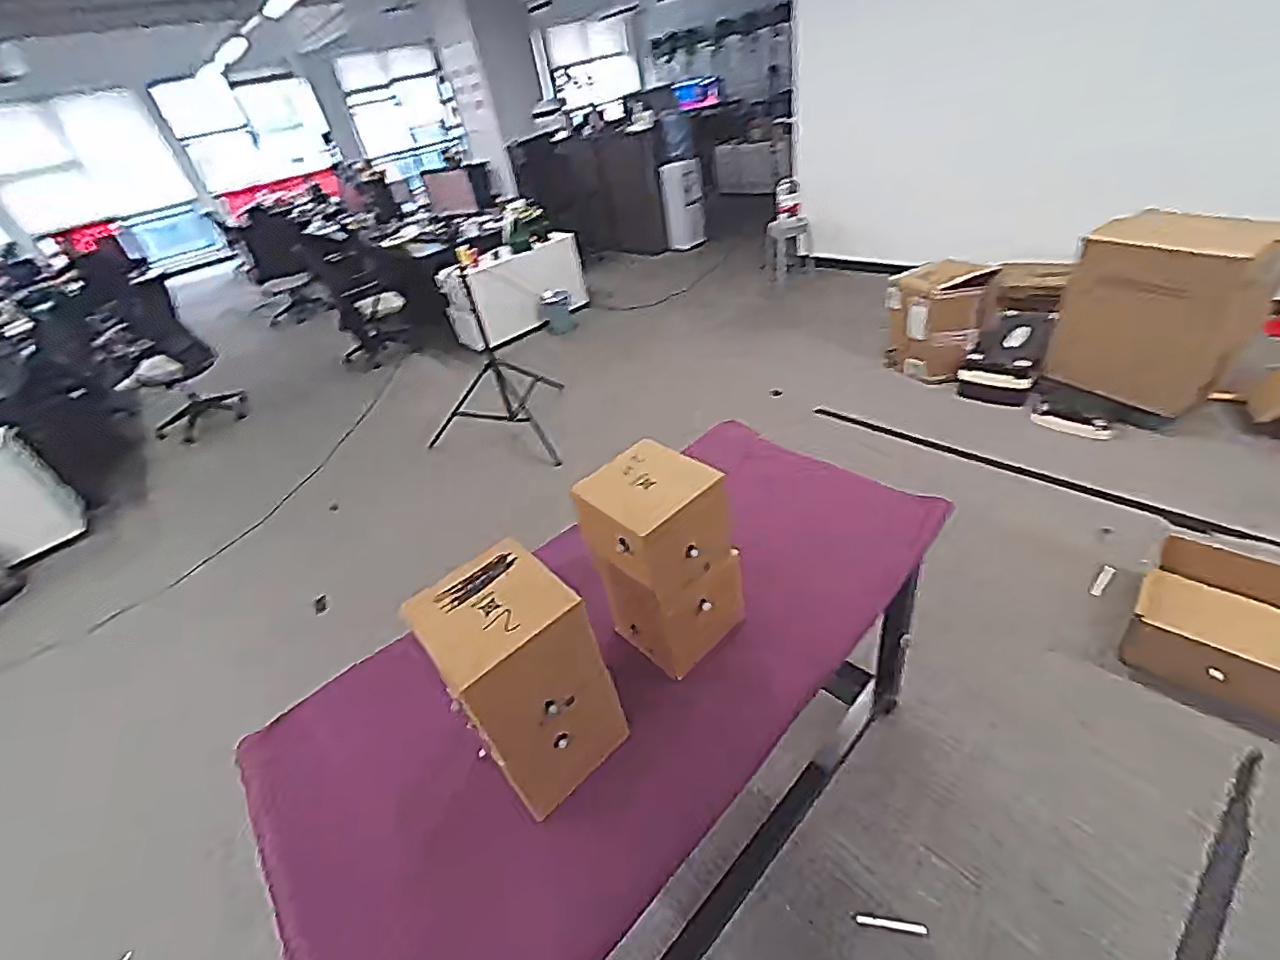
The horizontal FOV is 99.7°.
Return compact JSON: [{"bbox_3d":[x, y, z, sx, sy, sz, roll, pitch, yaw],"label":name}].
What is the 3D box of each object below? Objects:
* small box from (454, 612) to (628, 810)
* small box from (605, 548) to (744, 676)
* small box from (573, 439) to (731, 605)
[{"bbox_3d":[-0.139,0.341,0.805,0.179,0.176,0.168,-34,41,-28],"label":"small box"},{"bbox_3d":[0.065,0.197,0.942,0.179,0.176,0.168,-34,42,-26],"label":"small box"},{"bbox_3d":[0.027,0.067,0.847,0.168,0.176,0.179,-34,41,-27],"label":"small box"}]
